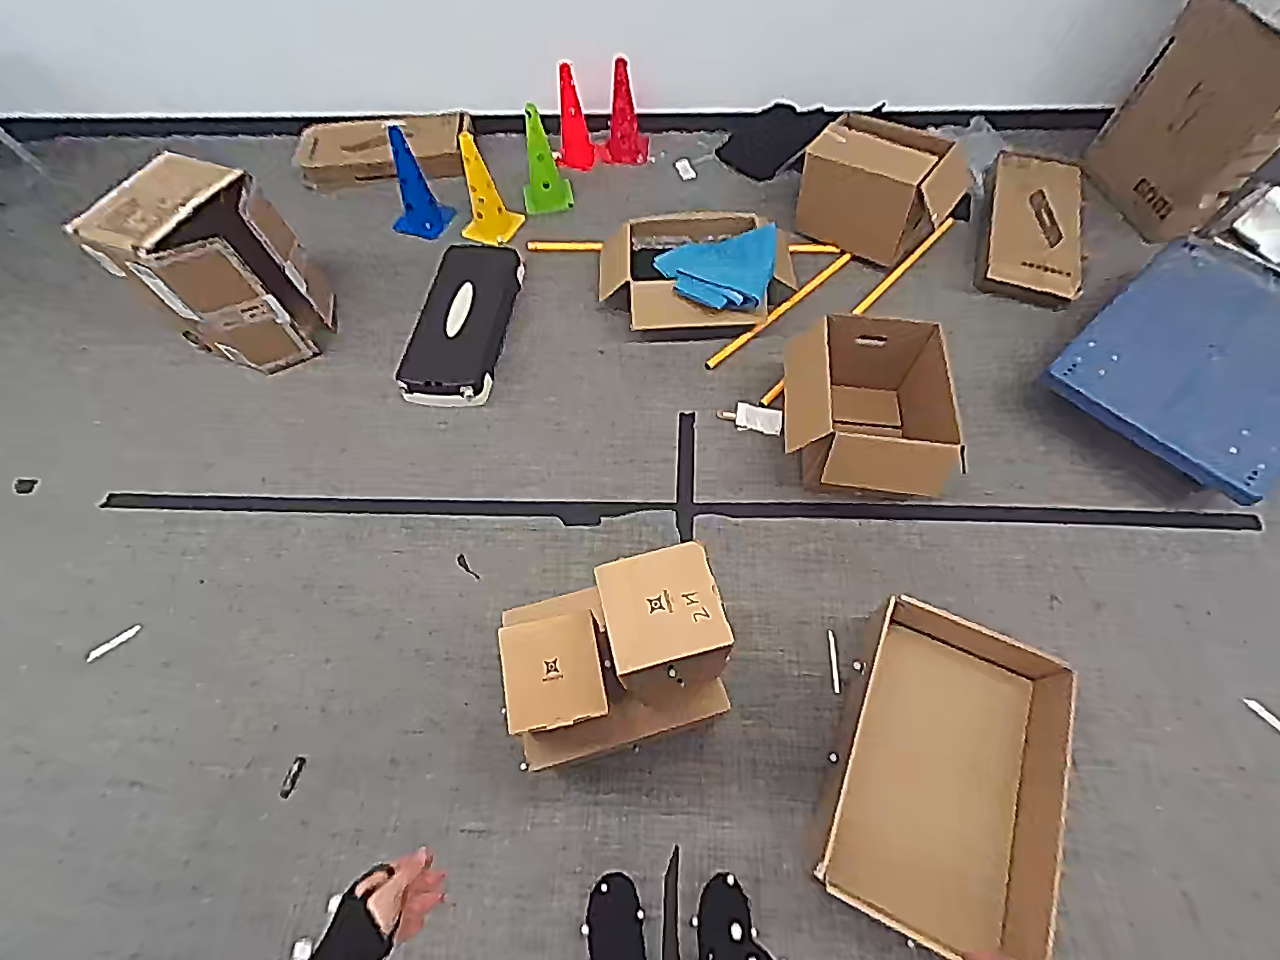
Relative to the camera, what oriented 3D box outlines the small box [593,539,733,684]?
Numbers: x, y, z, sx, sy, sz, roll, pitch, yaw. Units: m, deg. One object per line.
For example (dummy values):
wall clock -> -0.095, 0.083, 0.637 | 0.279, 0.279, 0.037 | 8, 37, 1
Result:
small box -> 0.035, 0.216, 0.863 | 0.179, 0.176, 0.168 | -14, 63, -5
